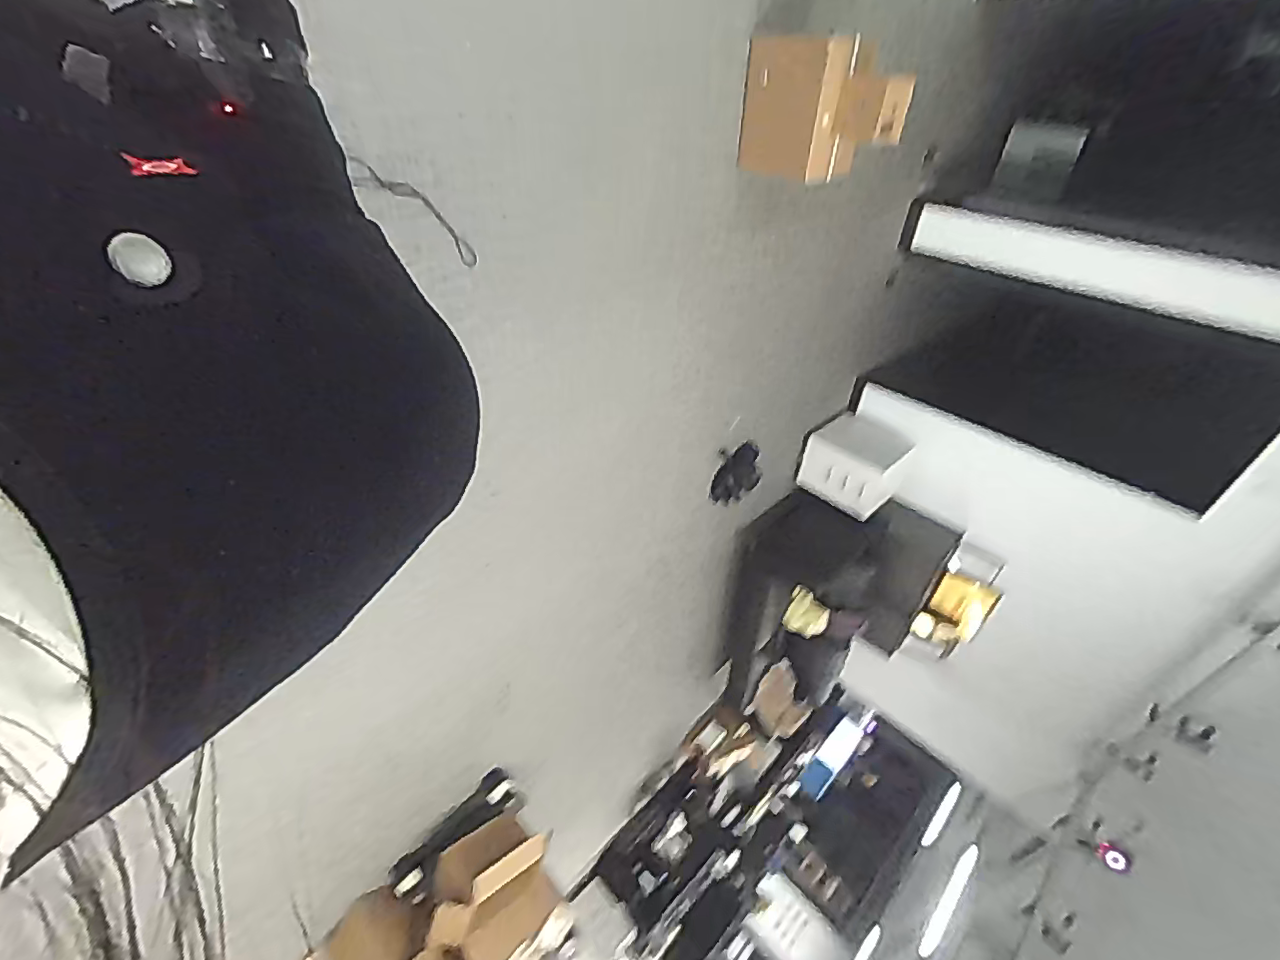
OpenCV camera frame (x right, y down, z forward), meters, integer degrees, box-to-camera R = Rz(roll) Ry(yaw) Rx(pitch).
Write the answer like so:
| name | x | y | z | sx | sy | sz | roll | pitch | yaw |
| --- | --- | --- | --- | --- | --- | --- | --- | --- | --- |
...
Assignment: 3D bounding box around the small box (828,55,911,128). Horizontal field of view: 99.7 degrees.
| name | x | y | z | sx | sy | sz | roll | pitch | yaw |
| --- | --- | --- | --- | --- | --- | --- | --- | --- | --- |
| small box | 0.752 | -1.289 | 1.793 | 0.168 | 0.176 | 0.179 | -23 | 135 | -35 |
